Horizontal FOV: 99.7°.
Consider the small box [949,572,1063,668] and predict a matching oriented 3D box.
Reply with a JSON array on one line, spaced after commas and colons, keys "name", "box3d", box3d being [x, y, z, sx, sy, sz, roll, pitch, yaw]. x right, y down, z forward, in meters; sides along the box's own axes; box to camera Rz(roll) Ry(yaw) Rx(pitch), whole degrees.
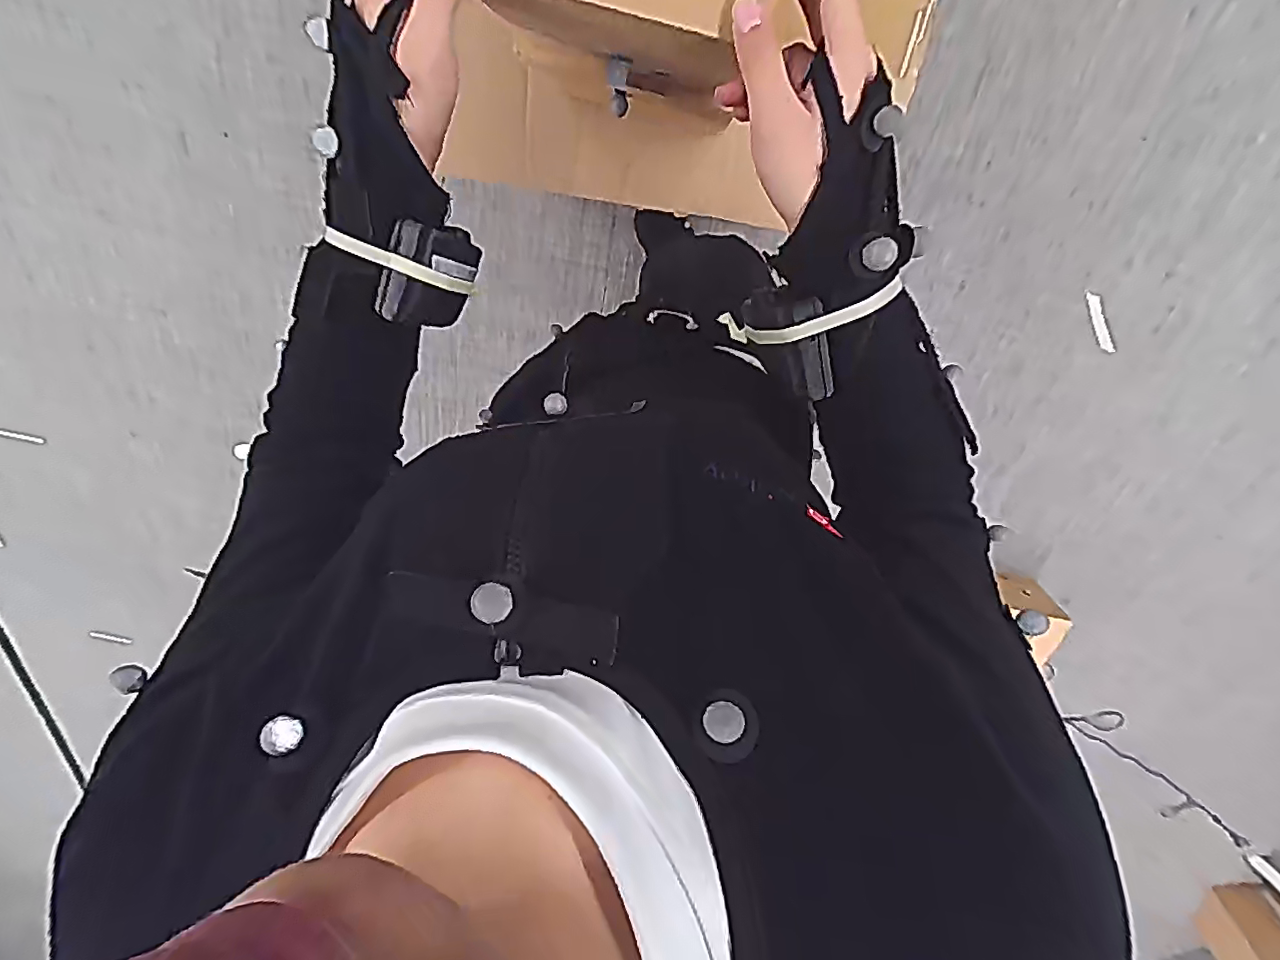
[{"name": "small box", "box3d": [0.984, 0.376, 1.475, 0.168, 0.176, 0.179, 12, 118, -1]}]

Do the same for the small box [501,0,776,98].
[{"name": "small box", "box3d": [0.007, -0.338, 0.289, 0.168, 0.176, 0.179, 15, 119, -2]}]

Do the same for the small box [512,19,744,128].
[{"name": "small box", "box3d": [0.012, -0.404, 0.441, 0.179, 0.176, 0.168, 14, 119, -2]}]
